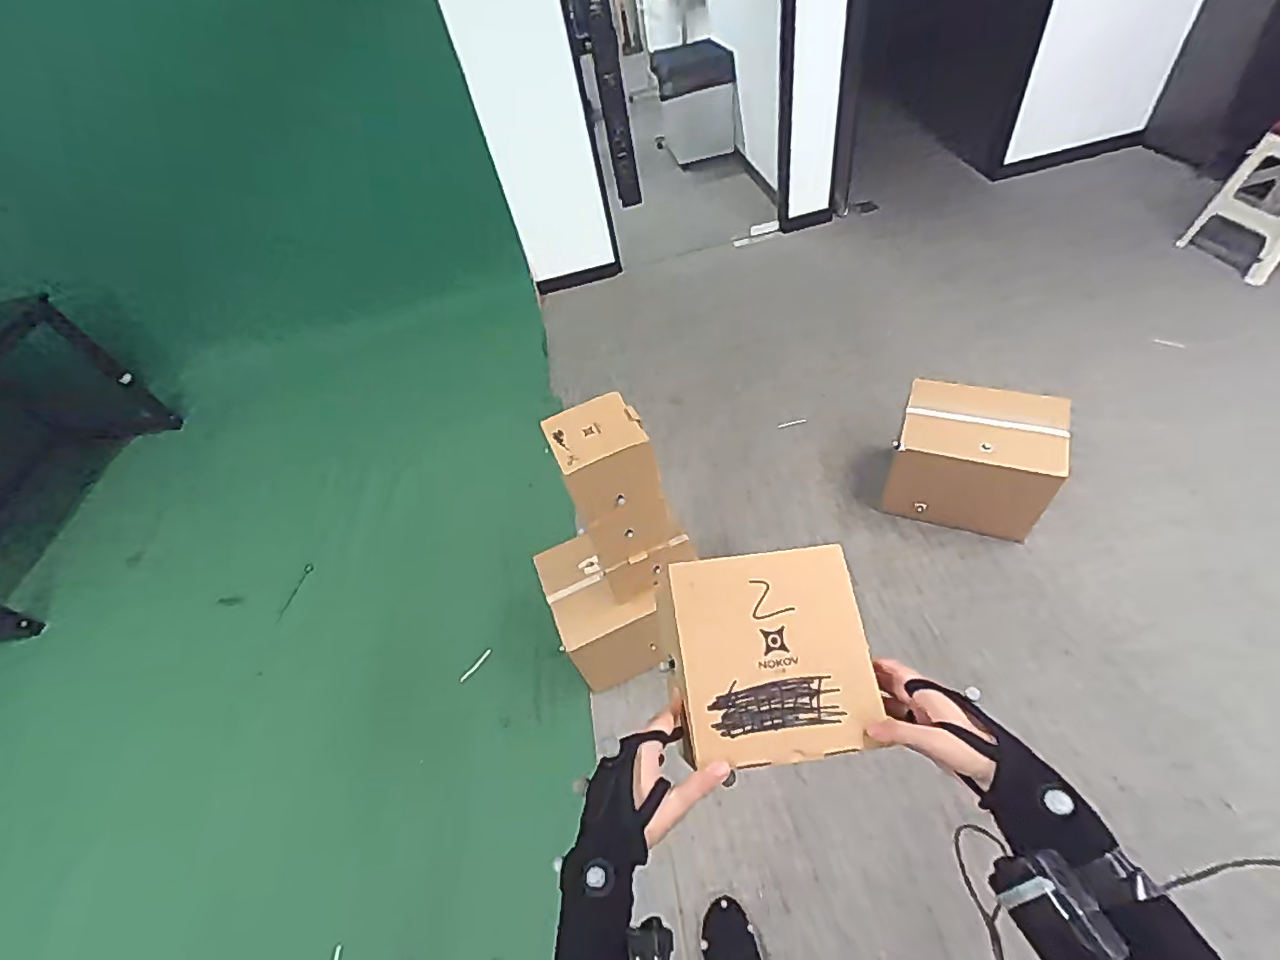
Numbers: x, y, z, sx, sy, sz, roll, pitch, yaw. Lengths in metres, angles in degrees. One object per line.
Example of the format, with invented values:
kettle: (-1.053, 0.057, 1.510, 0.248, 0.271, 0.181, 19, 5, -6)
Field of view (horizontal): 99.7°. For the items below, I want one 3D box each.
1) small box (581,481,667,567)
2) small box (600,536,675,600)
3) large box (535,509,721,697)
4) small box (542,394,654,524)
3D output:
small box: (-0.049, 0.066, 1.227, 0.179, 0.176, 0.168, -24, 49, -9)
small box: (-0.024, 0.175, 1.346, 0.168, 0.176, 0.179, -23, 49, -8)
large box: (-0.026, 0.341, 1.530, 0.408, 0.320, 0.320, -25, 48, -7)
small box: (-0.079, -0.041, 1.106, 0.179, 0.176, 0.168, -23, 49, -9)
